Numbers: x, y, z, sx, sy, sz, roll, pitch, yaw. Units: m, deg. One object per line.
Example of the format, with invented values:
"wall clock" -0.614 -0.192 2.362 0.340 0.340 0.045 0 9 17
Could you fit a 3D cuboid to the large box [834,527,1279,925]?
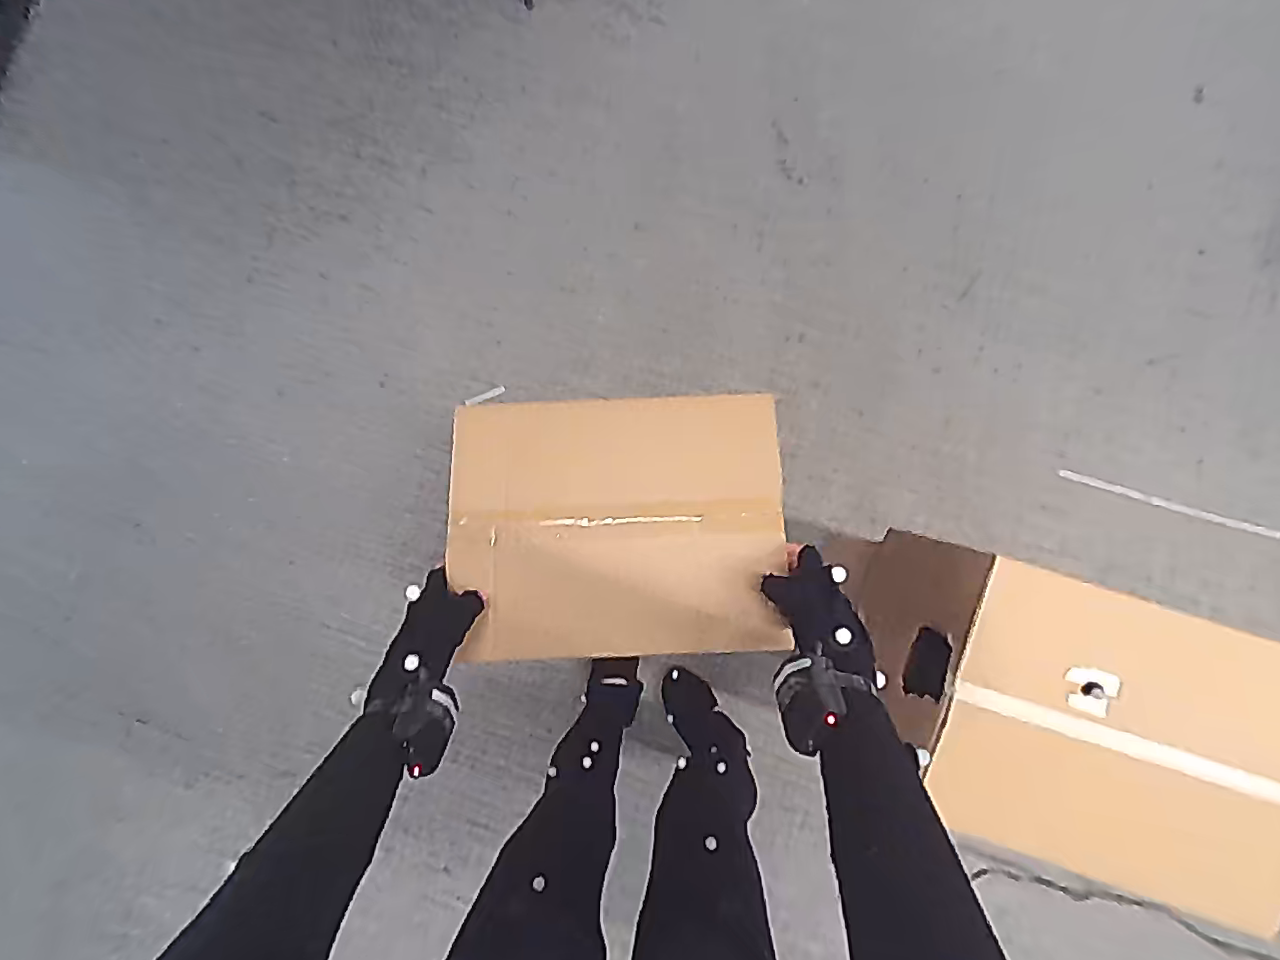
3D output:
"large box" 0.540 0.278 0.736 0.408 0.320 0.320 17 91 5
